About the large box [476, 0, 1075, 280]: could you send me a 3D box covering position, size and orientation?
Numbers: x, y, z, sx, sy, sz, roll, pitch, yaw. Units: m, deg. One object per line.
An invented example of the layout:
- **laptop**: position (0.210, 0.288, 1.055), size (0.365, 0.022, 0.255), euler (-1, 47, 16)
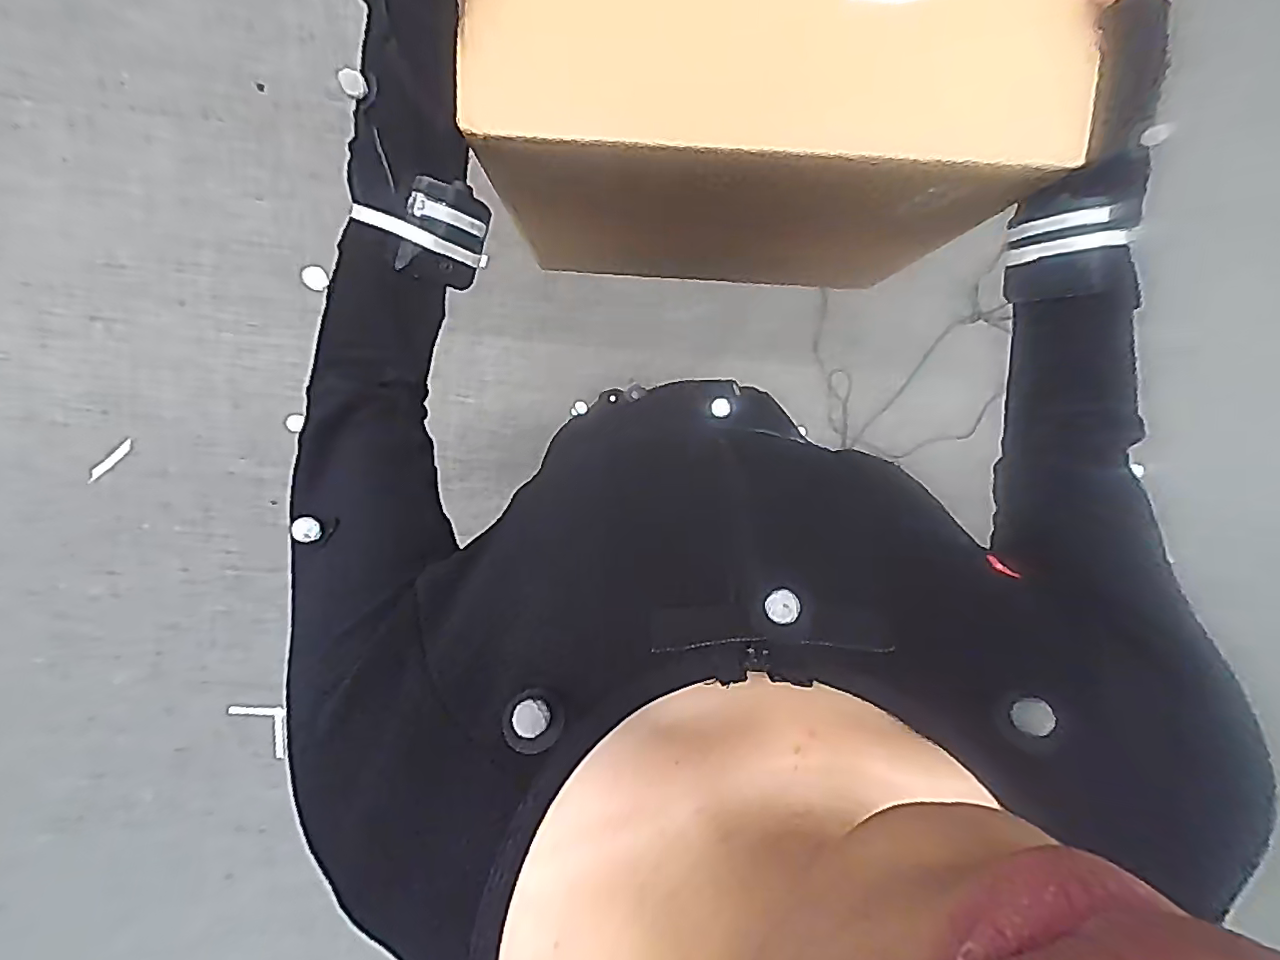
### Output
- **large box**: position (0.088, -0.387, 0.499), size (0.408, 0.320, 0.320), euler (2, 95, -1)
